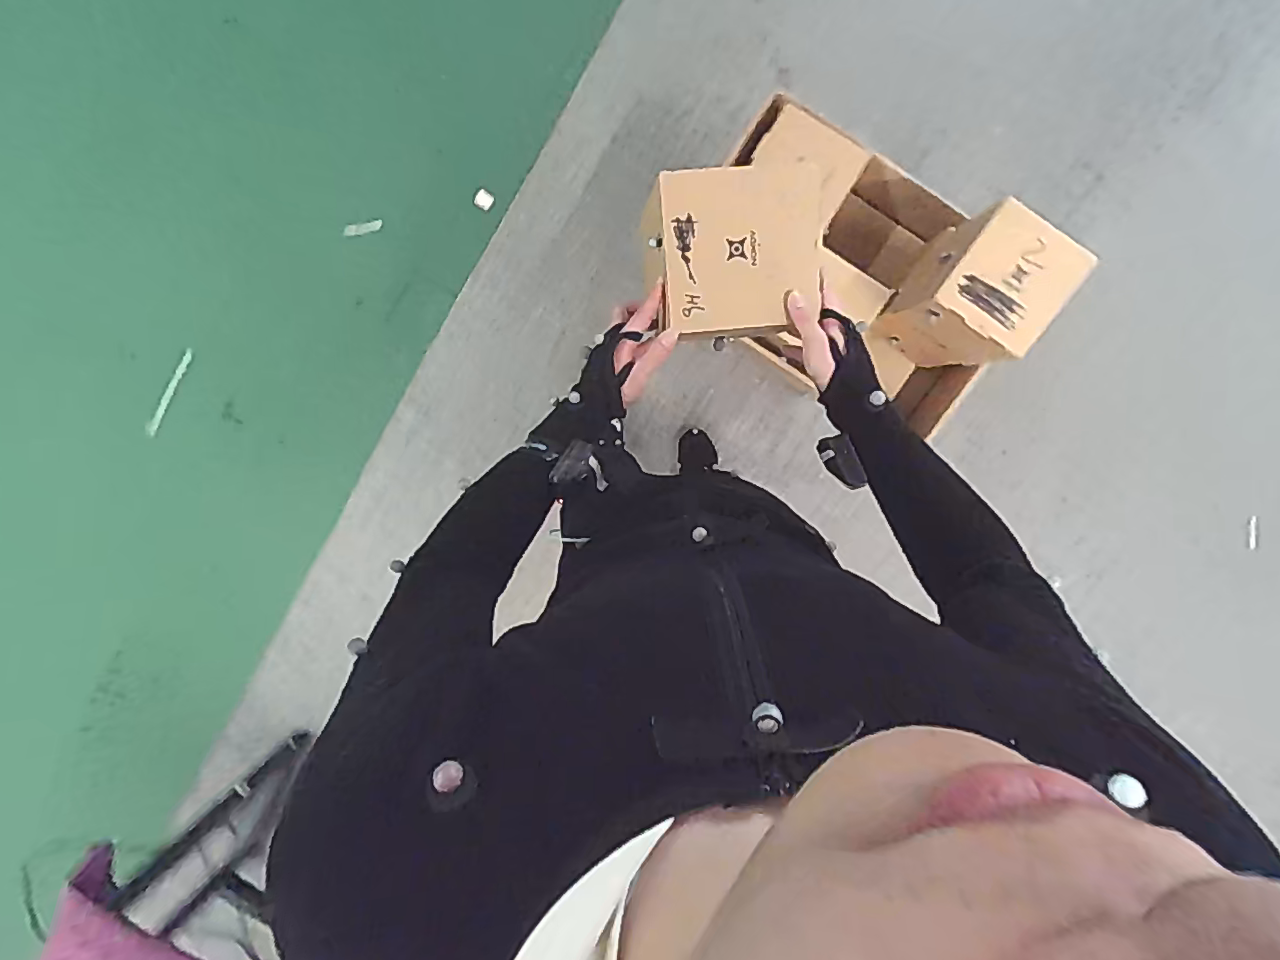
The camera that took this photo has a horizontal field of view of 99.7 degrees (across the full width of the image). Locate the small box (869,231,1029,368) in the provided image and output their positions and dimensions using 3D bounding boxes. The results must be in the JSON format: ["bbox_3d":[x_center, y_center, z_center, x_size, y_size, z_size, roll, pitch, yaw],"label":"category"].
[{"bbox_3d":[0.577,-0.334,1.039,0.168,0.176,0.179,35,100,-2],"label":"small box"}]

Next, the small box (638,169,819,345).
[{"bbox_3d":[0.099,-0.258,0.658,0.179,0.176,0.168,-6,100,-6],"label":"small box"}]
